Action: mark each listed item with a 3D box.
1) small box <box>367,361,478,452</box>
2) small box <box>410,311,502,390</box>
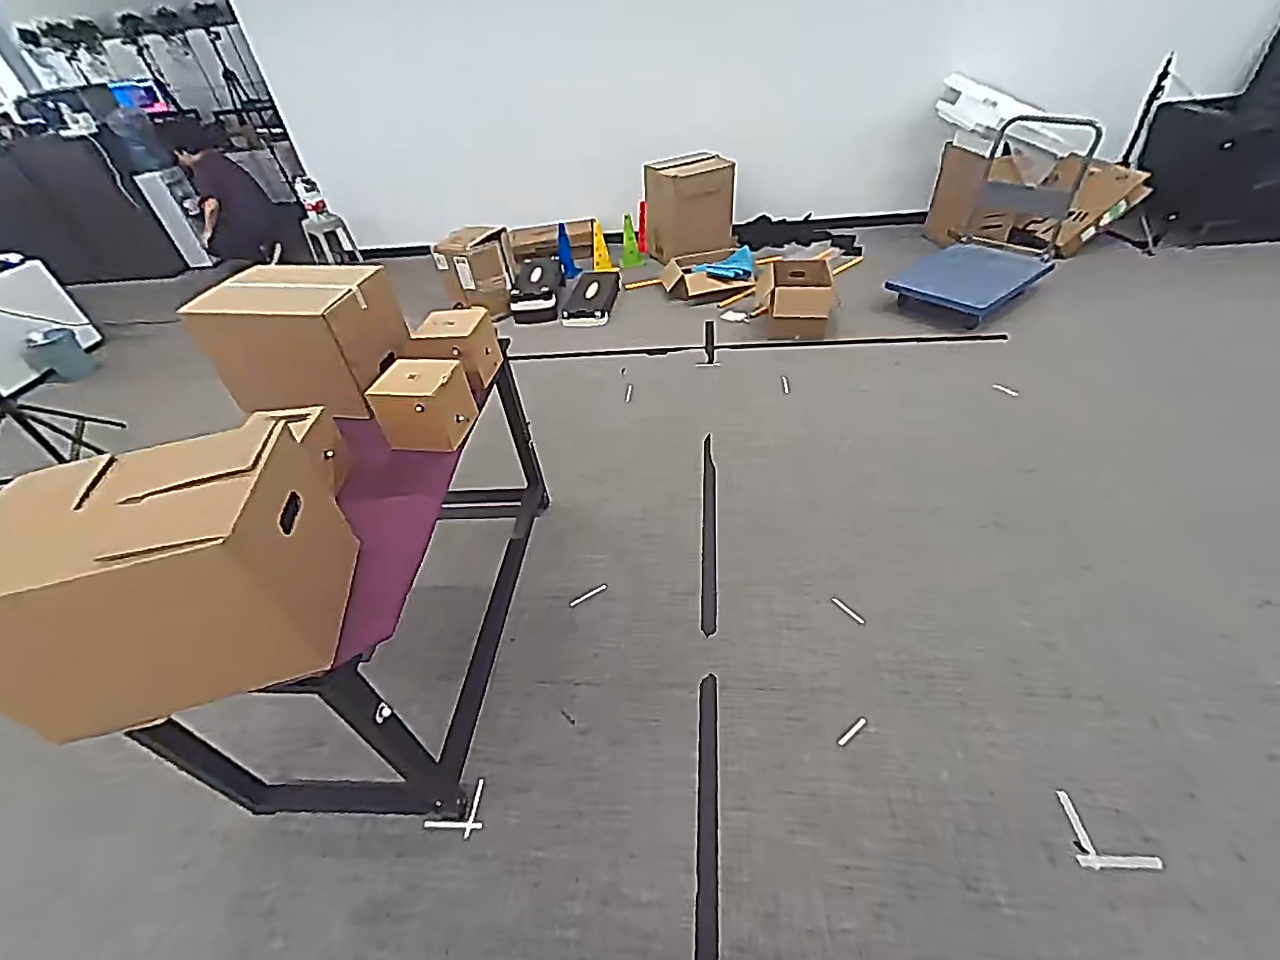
[{"bbox_3d":[-0.535,-0.184,1.356,0.179,0.176,0.168,3,42,10],"label":"small box"},{"bbox_3d":[-0.519,-0.369,1.559,0.179,0.176,0.168,-1,42,10],"label":"small box"}]
